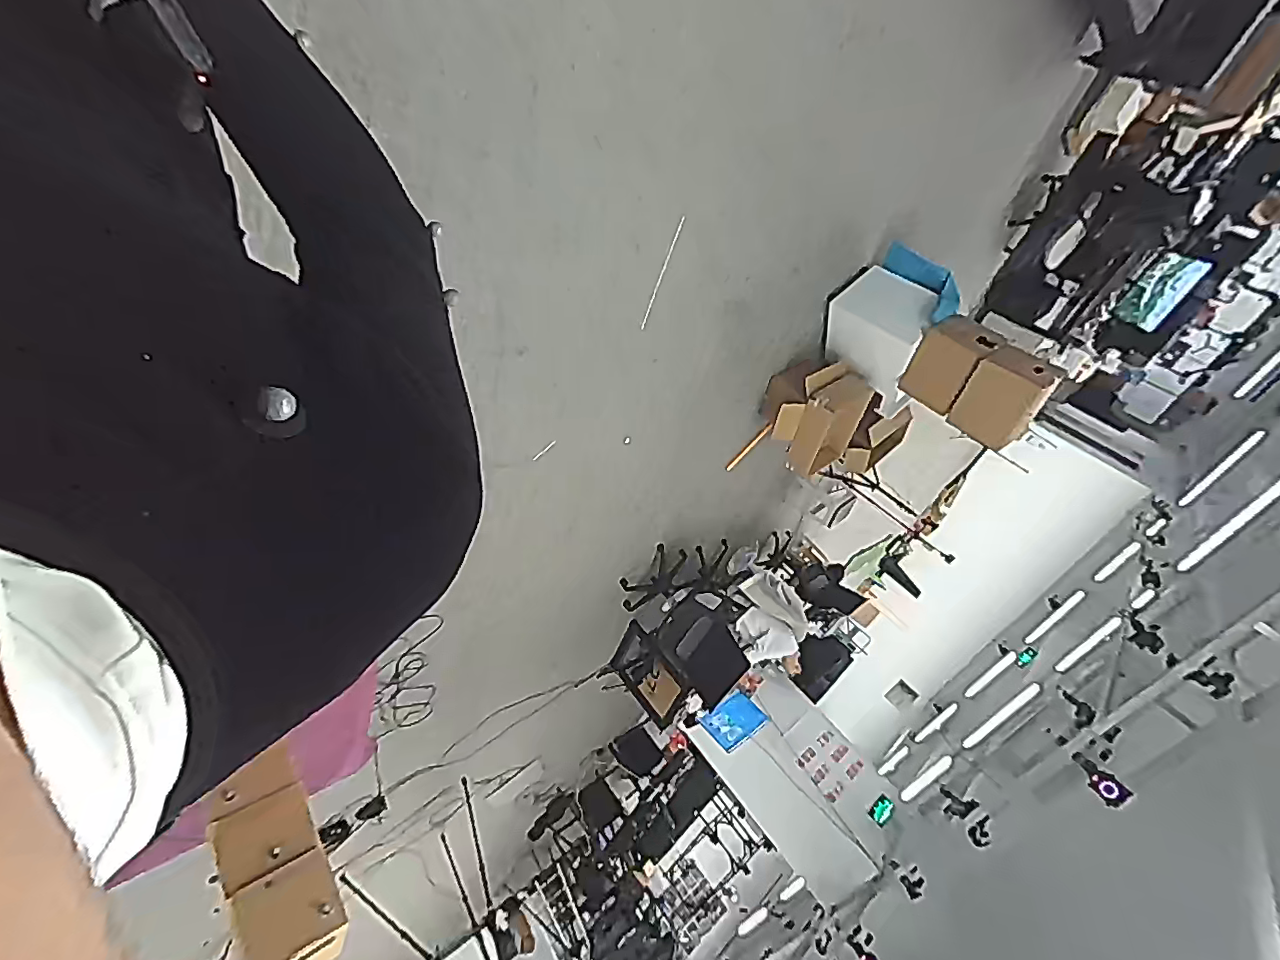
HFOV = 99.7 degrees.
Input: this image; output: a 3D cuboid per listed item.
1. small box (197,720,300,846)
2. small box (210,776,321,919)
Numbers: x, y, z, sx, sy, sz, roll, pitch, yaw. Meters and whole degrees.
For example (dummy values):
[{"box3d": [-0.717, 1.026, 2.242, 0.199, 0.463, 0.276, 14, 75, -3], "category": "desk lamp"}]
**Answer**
[{"box3d": [-0.941, 0.717, 1.296, 0.179, 0.176, 0.168, -10, 135, -44], "category": "small box"}, {"box3d": [-0.842, 0.814, 1.212, 0.179, 0.176, 0.168, -11, 135, -44], "category": "small box"}]
